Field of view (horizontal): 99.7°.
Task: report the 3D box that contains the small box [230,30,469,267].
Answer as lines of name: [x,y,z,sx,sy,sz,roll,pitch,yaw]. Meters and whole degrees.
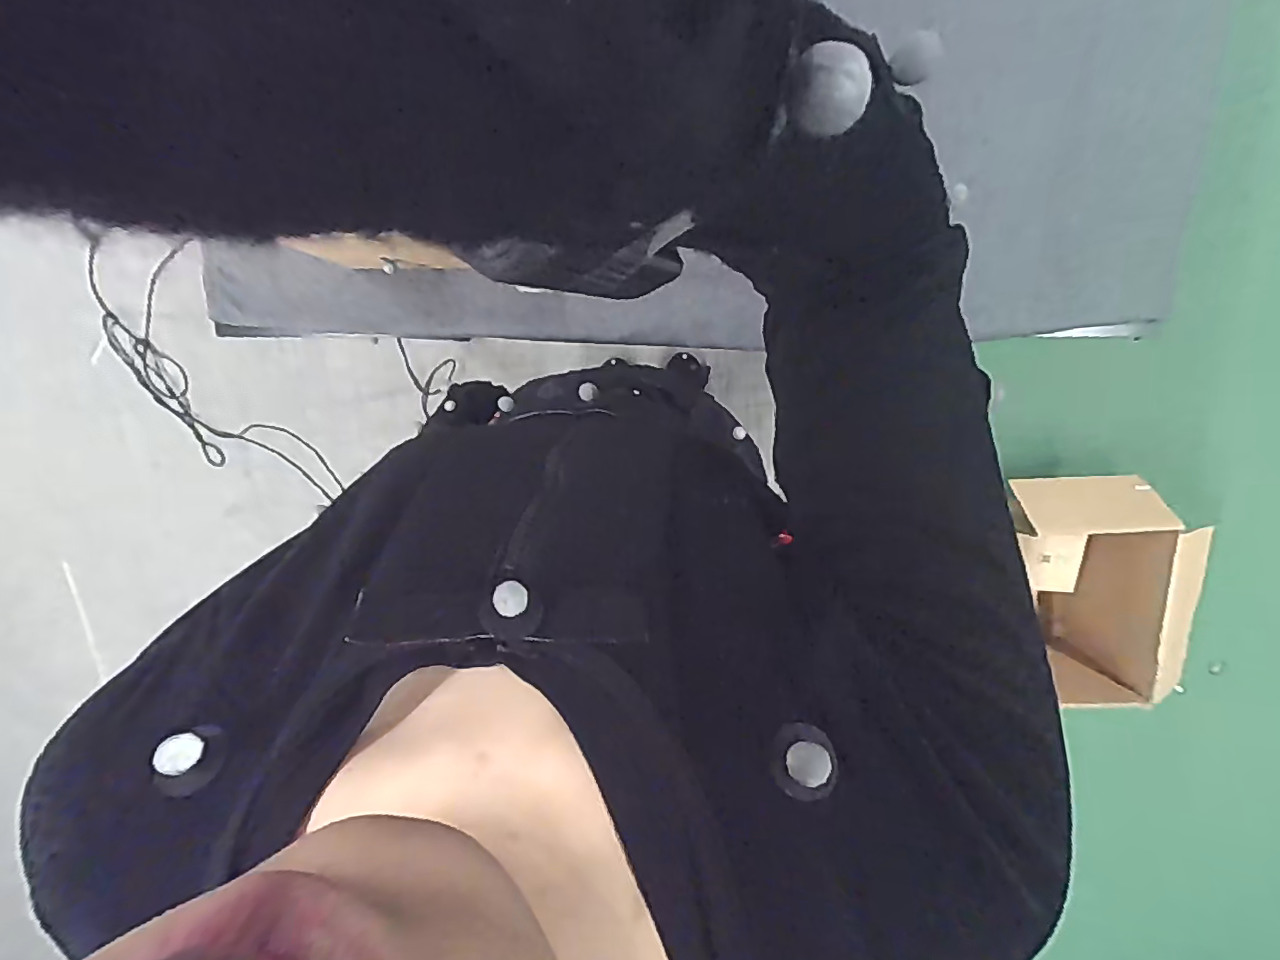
small box: [-0.297,-0.343,0.592,0.168,0.176,0.179,1,101,3]
